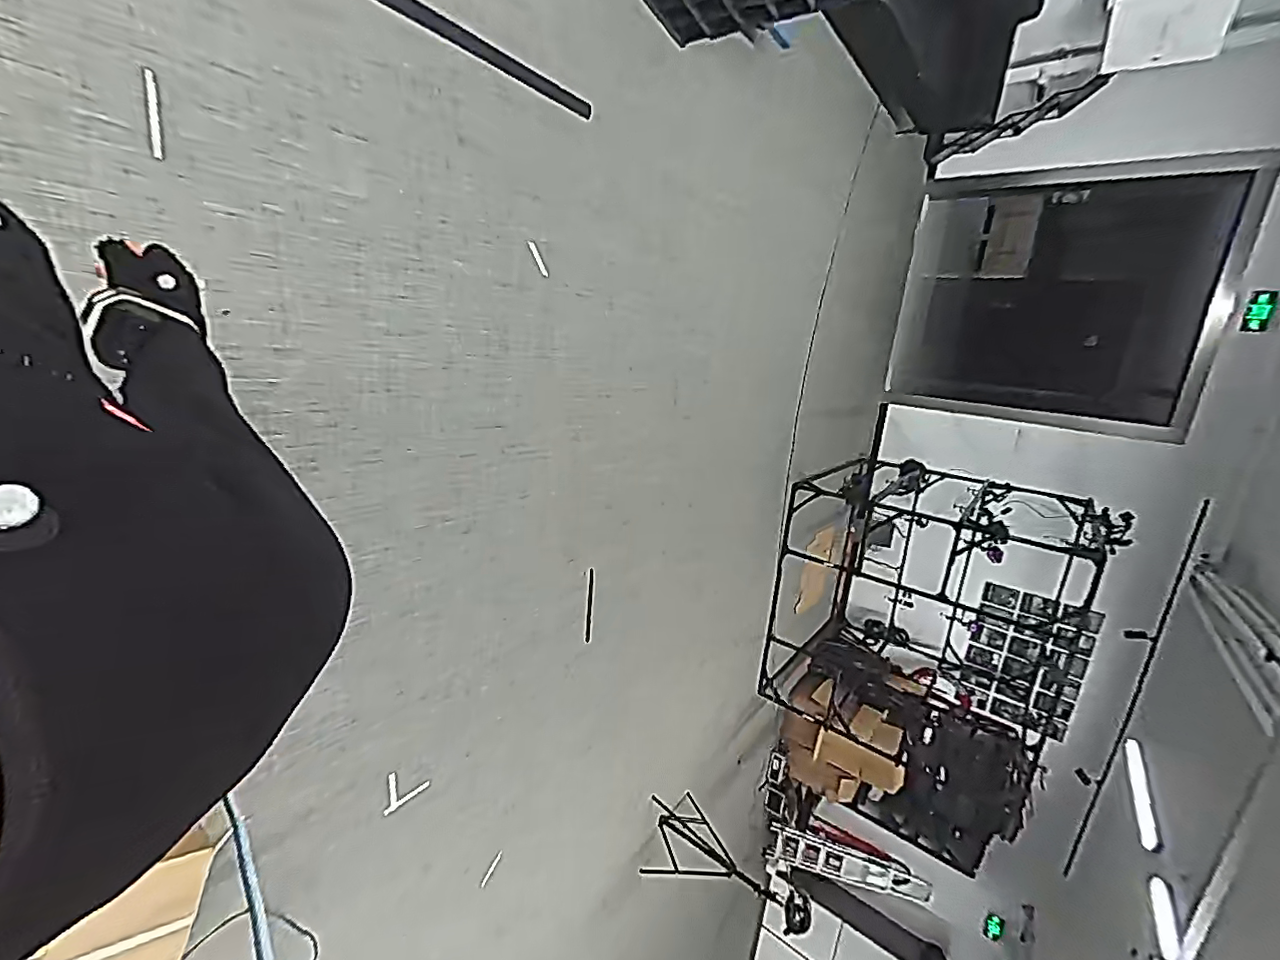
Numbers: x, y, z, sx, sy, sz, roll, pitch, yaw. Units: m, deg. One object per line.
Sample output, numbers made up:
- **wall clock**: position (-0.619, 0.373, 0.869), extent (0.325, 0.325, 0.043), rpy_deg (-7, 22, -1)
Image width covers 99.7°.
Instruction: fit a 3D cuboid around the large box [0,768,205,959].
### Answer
- **large box**: position (-1.204, 0.849, 1.089), extent (0.408, 0.320, 0.320), rpy_deg (20, 85, -55)
